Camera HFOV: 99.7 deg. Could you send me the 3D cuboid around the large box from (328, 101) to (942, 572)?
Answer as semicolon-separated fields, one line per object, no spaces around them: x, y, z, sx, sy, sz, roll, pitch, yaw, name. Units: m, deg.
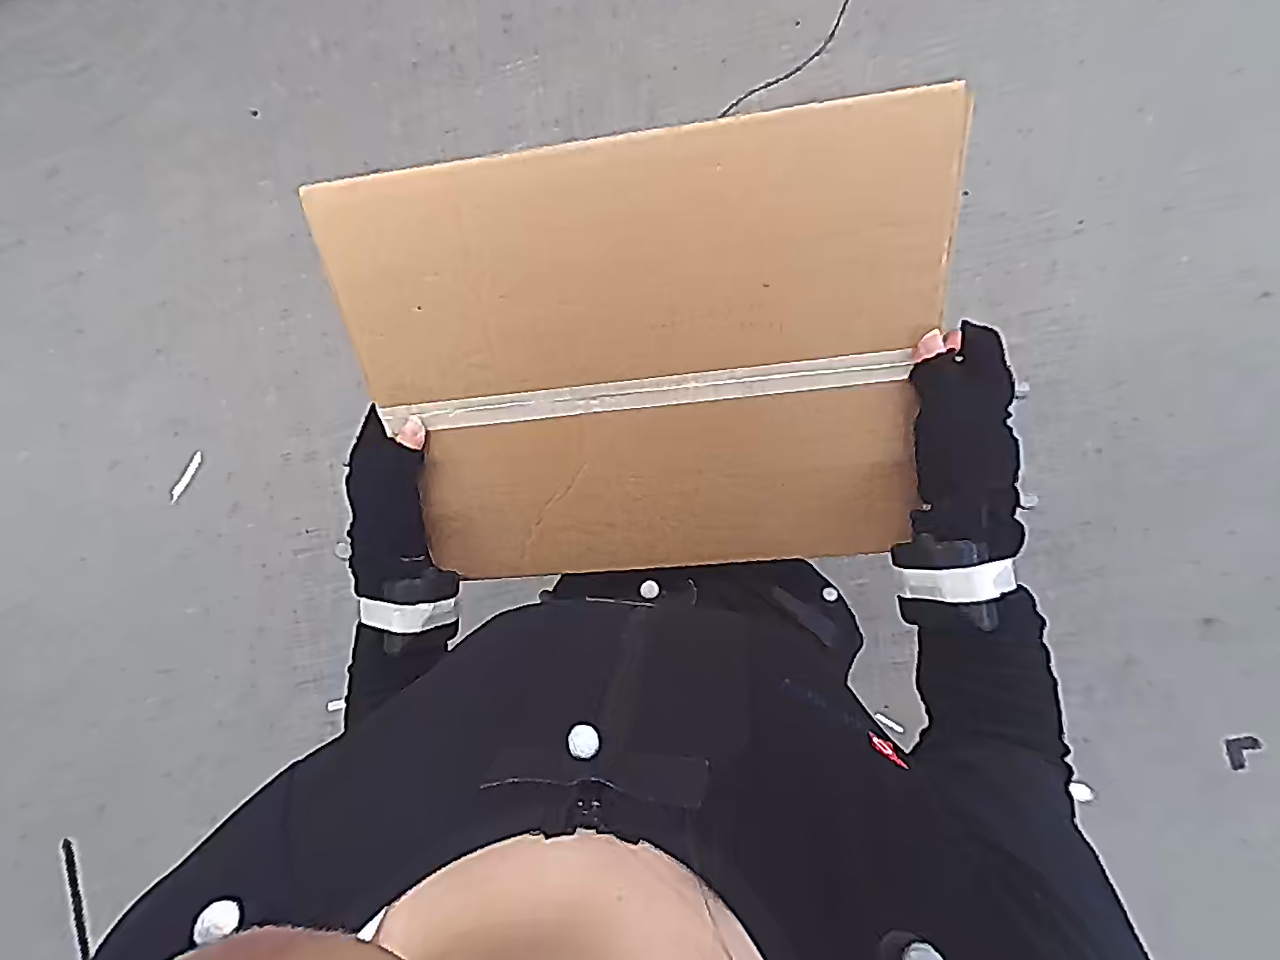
0.015;-0.139;0.537;0.408;0.320;0.320;-5;117;7;large box
